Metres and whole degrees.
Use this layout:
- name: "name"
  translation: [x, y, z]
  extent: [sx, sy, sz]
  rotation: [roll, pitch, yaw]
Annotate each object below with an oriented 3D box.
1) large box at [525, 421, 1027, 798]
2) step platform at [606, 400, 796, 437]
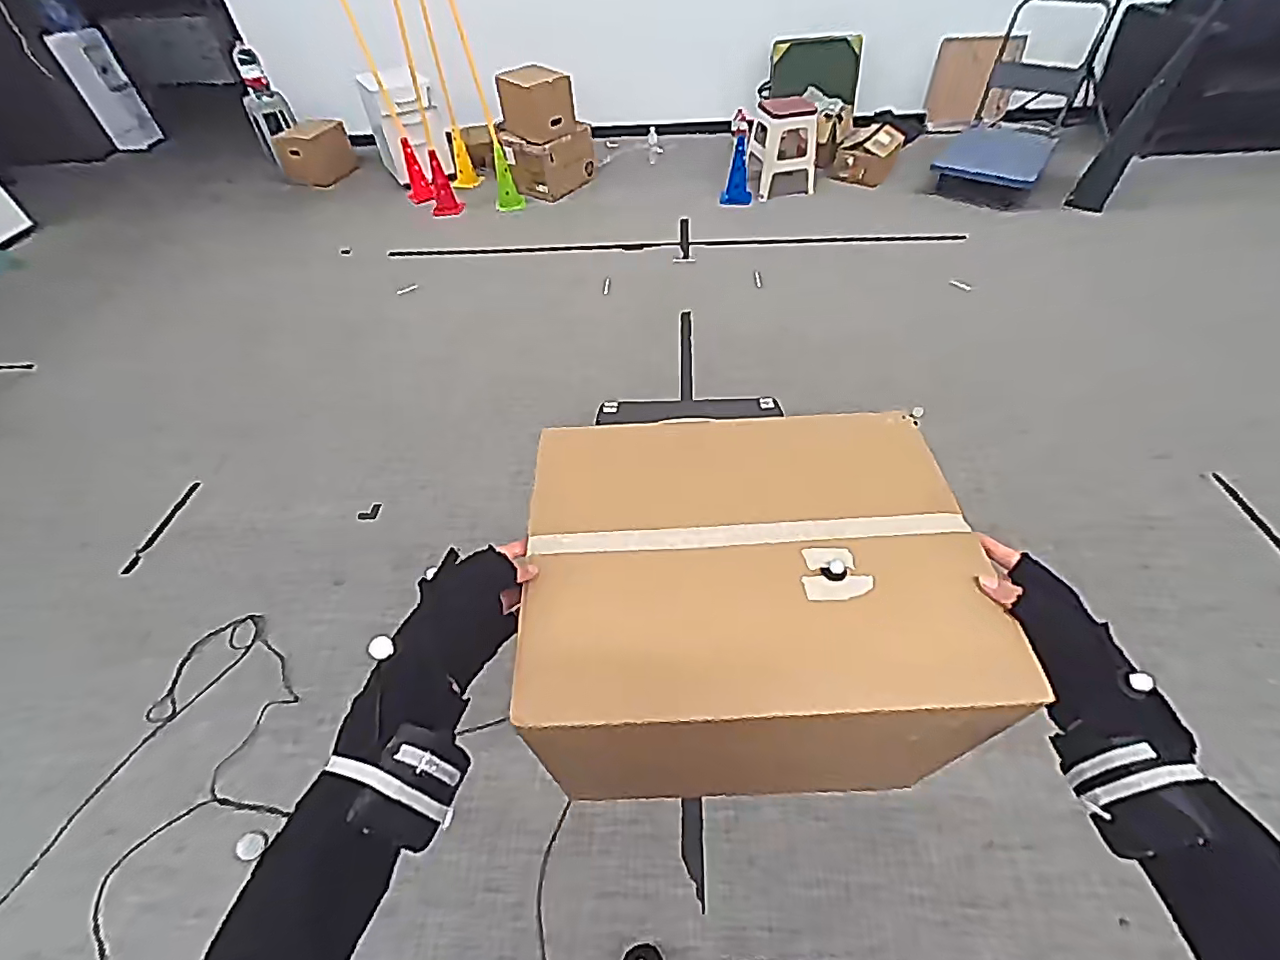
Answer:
- name: "large box"
  translation: [0.103, 0.156, 0.627]
  extent: [0.408, 0.320, 0.320]
  rotation: [-3, 51, 0]
- name: "step platform"
  translation: [0.217, -0.129, 1.958]
  extent: [0.684, 0.204, 0.286]
  rotation: [-1, 49, 1]
